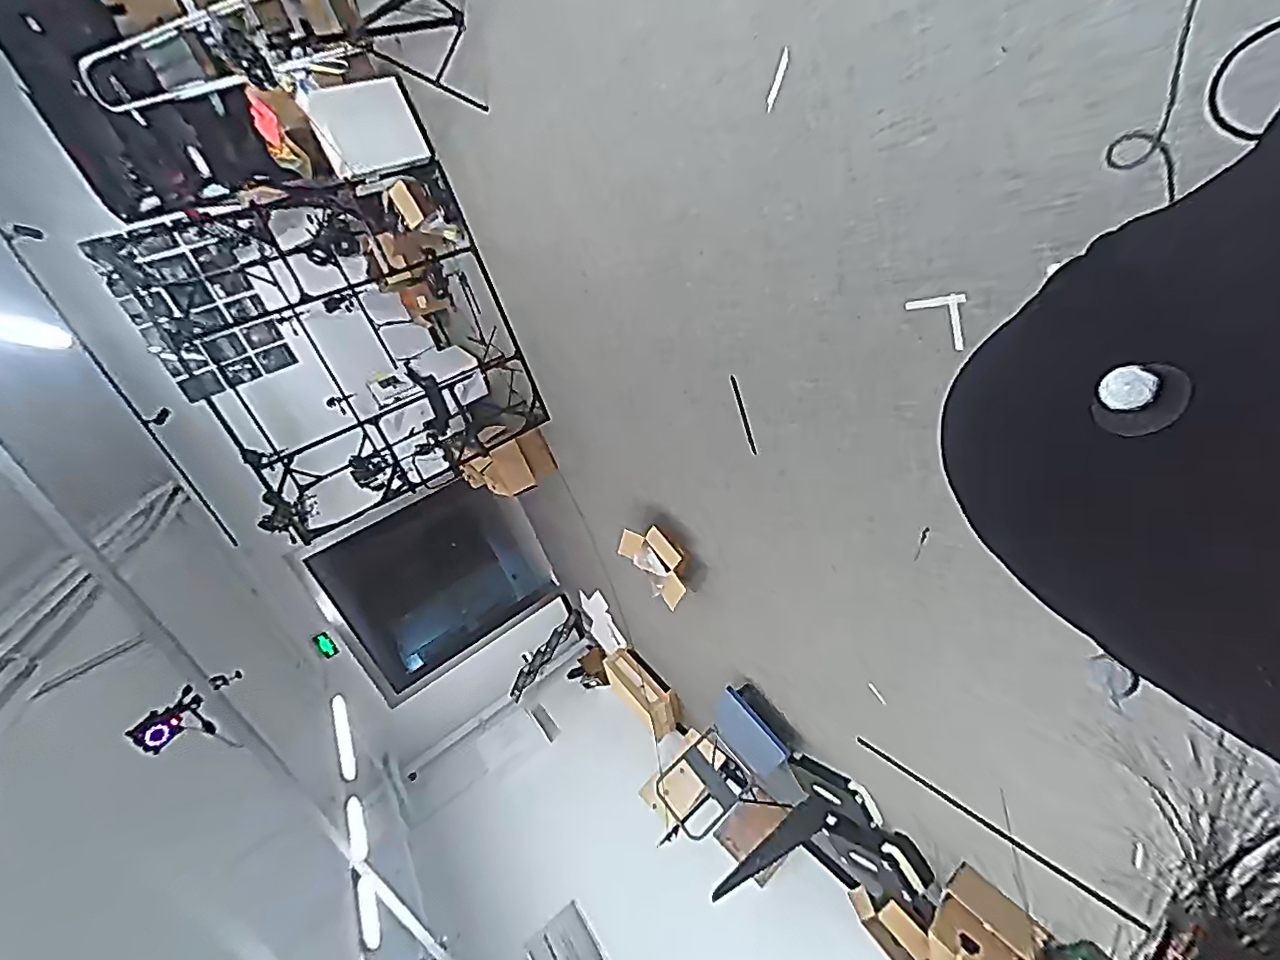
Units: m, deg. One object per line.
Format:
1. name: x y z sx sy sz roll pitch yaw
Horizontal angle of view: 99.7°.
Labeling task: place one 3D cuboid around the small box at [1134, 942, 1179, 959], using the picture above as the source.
1. small box: 1.722 1.671 1.760 0.179 0.176 0.168 34 146 46

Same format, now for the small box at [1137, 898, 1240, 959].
1. small box: 1.841 1.568 1.816 0.179 0.176 0.168 36 149 44
